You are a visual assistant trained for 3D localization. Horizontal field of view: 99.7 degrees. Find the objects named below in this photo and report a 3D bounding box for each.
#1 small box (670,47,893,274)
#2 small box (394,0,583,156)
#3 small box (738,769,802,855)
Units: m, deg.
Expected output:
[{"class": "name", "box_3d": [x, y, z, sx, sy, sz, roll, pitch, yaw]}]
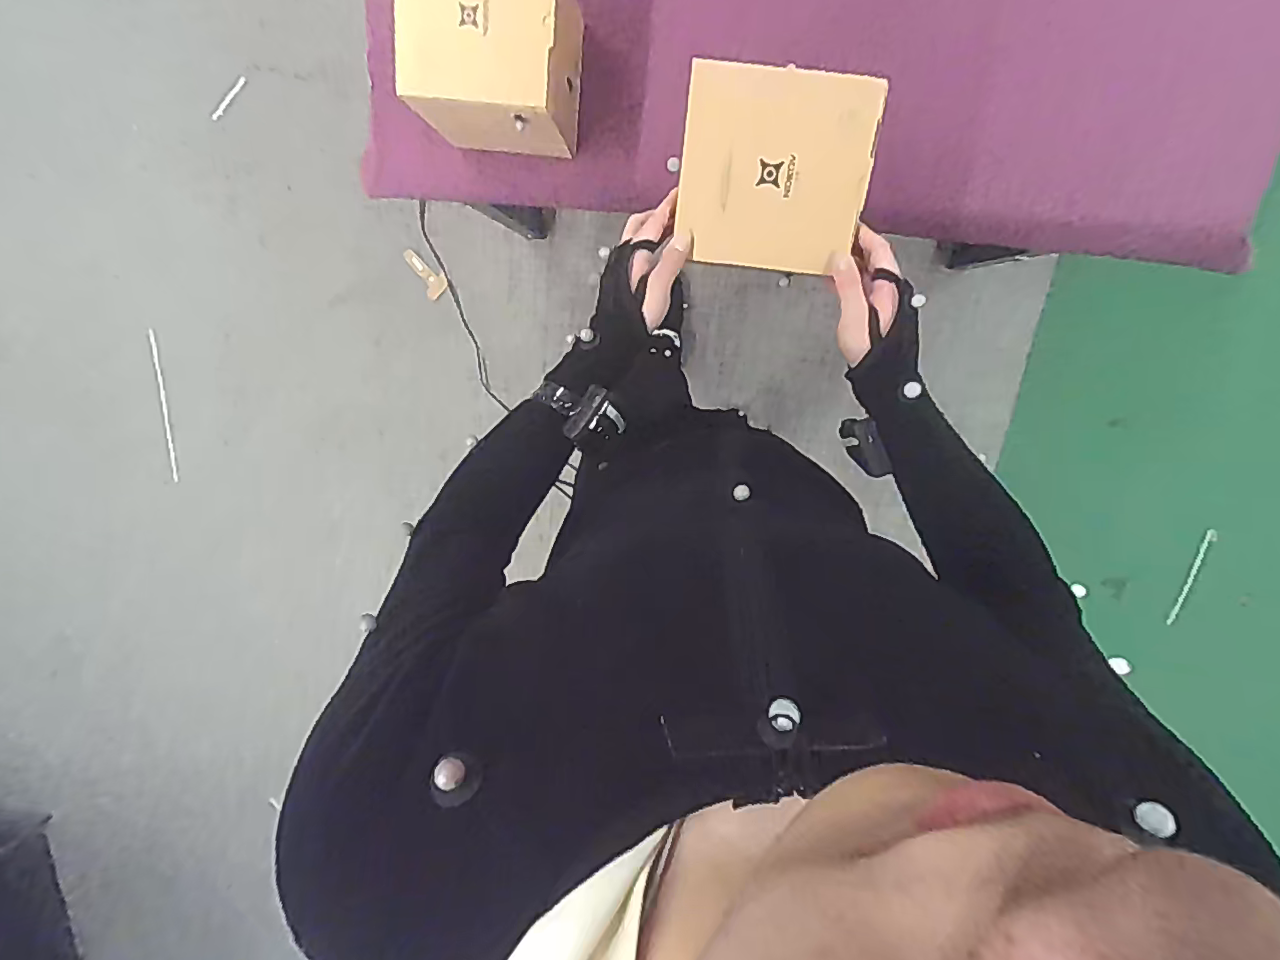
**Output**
[{"class": "small box", "box_3d": [0.129, -0.317, 0.570, 0.179, 0.176, 0.168, 8, 111, 1]}, {"class": "small box", "box_3d": [-0.174, -0.516, 0.657, 0.179, 0.176, 0.168, 6, 104, 1]}, {"class": "small box", "box_3d": [0.432, 1.114, 1.824, 0.168, 0.176, 0.179, 8, 106, 2]}]
